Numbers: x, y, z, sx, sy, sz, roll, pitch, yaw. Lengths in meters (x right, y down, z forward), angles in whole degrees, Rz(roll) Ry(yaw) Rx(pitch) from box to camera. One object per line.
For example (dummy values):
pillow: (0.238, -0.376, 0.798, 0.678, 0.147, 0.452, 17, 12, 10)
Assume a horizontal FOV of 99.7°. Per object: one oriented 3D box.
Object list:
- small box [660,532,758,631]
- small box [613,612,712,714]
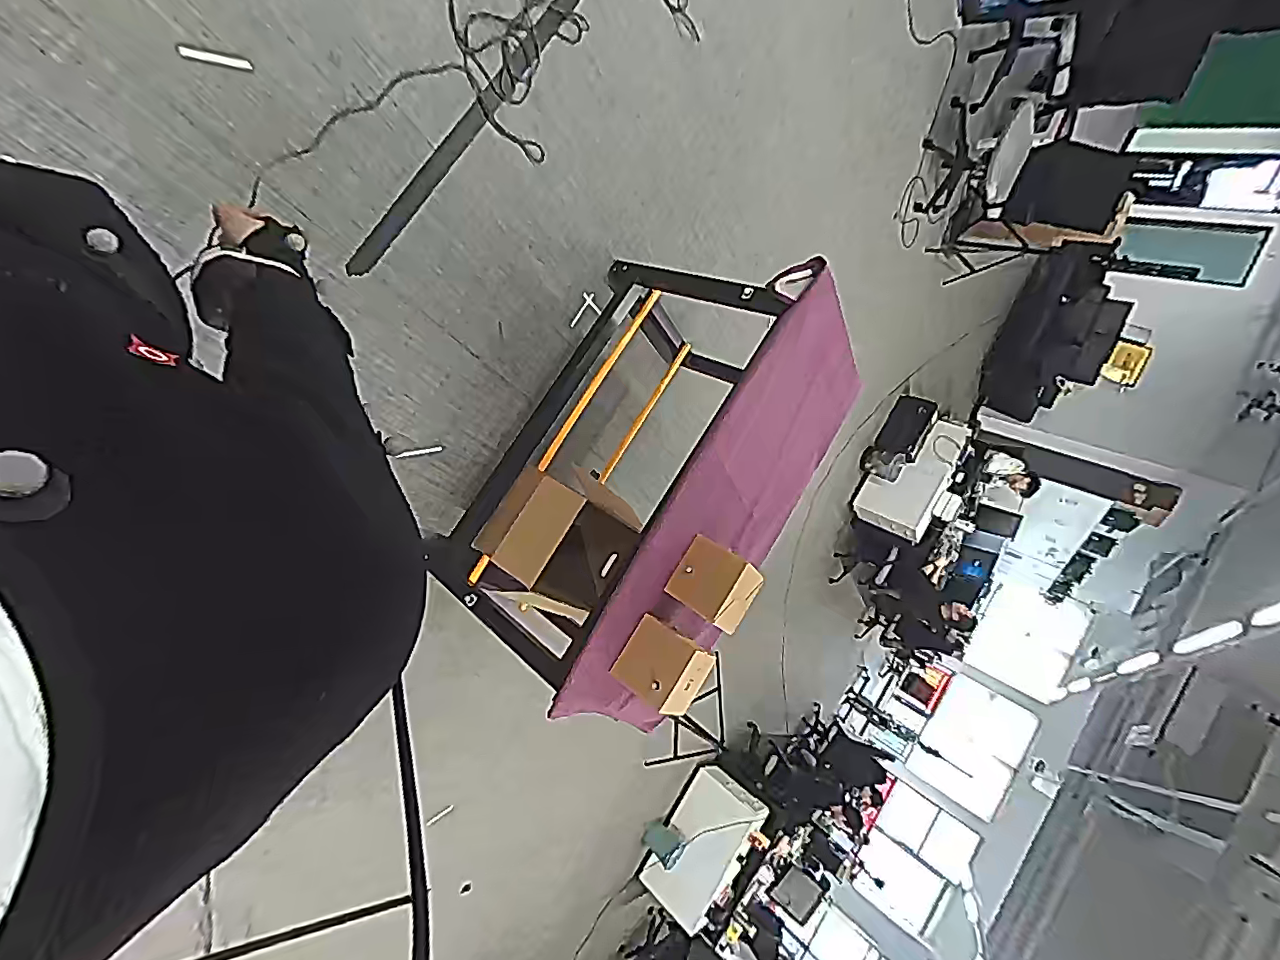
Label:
small box: (0.190, 0.270, 1.430, 0.179, 0.176, 0.168, -57, 146, -9)
small box: (0.052, 0.470, 1.388, 0.179, 0.176, 0.168, -57, 147, -8)
